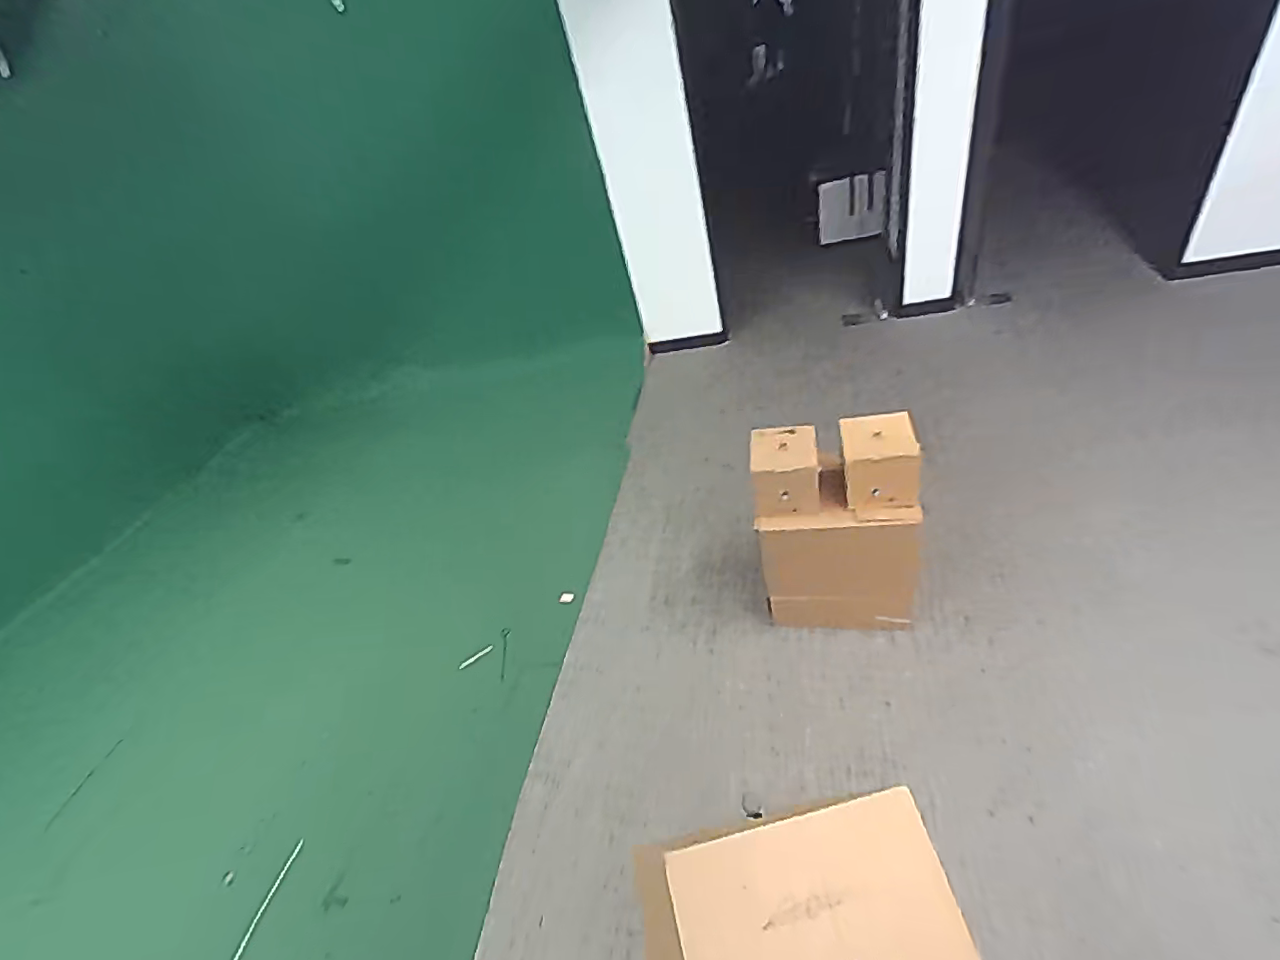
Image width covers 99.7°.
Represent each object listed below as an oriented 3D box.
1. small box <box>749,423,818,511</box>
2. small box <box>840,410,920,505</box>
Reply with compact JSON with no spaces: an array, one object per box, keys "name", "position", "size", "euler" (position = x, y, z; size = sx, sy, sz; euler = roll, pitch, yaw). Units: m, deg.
[{"name":"small box","position":[0.385,-0.029,1.445],"size":[0.168,0.176,0.179],"euler":[-3,43,16]},{"name":"small box","position":[0.608,-0.056,1.389],"size":[0.168,0.176,0.179],"euler":[-6,41,18]}]
